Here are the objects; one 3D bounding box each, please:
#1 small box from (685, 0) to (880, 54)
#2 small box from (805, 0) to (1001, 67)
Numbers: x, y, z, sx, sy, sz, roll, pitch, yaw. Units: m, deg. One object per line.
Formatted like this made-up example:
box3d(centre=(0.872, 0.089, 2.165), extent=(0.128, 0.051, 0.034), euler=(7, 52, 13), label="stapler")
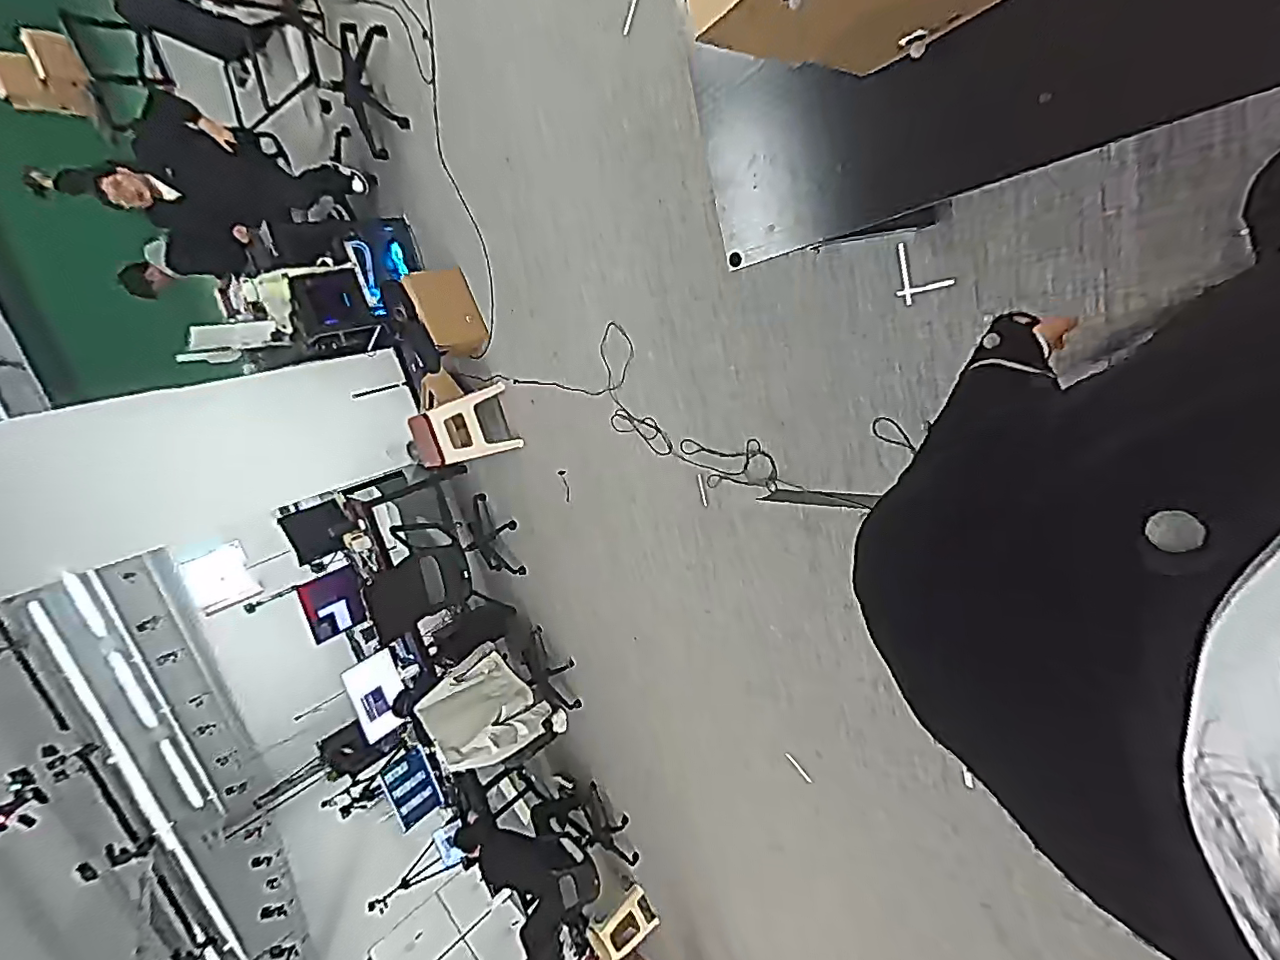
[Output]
box3d(centre=(0.138, -0.488, 0.436), extent=(0.179, 0.176, 0.168), euler=(-2, 108, 50), label="small box")
box3d(centre=(0.256, -0.550, 0.532), extent=(0.168, 0.176, 0.179), euler=(0, 111, 51), label="small box")
